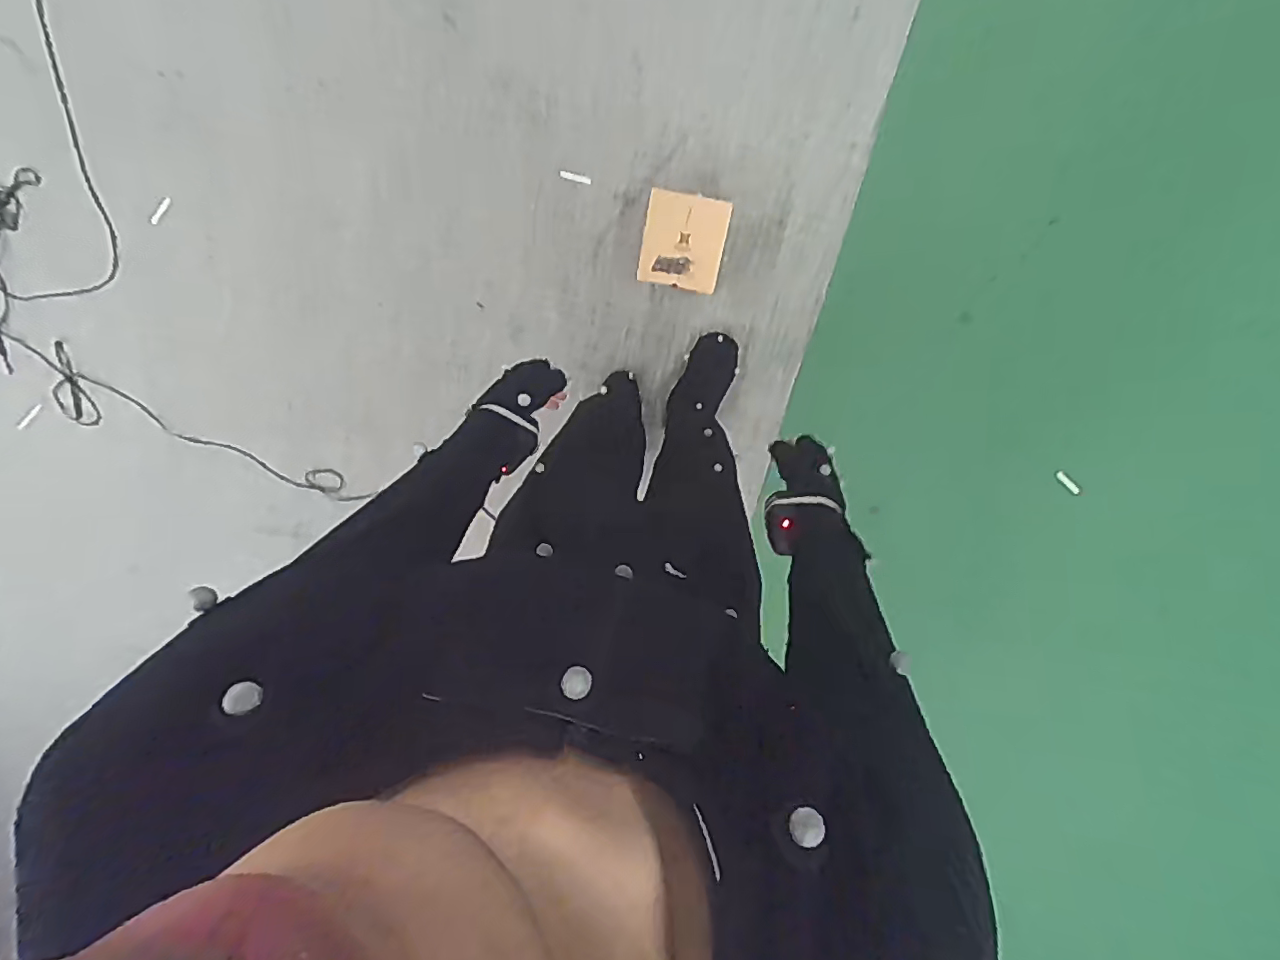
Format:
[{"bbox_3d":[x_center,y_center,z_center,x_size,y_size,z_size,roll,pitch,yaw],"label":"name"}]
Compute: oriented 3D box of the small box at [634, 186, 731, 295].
[{"bbox_3d":[0.095,-0.503,1.147,0.168,0.176,0.179,13,113,3],"label":"small box"}]
